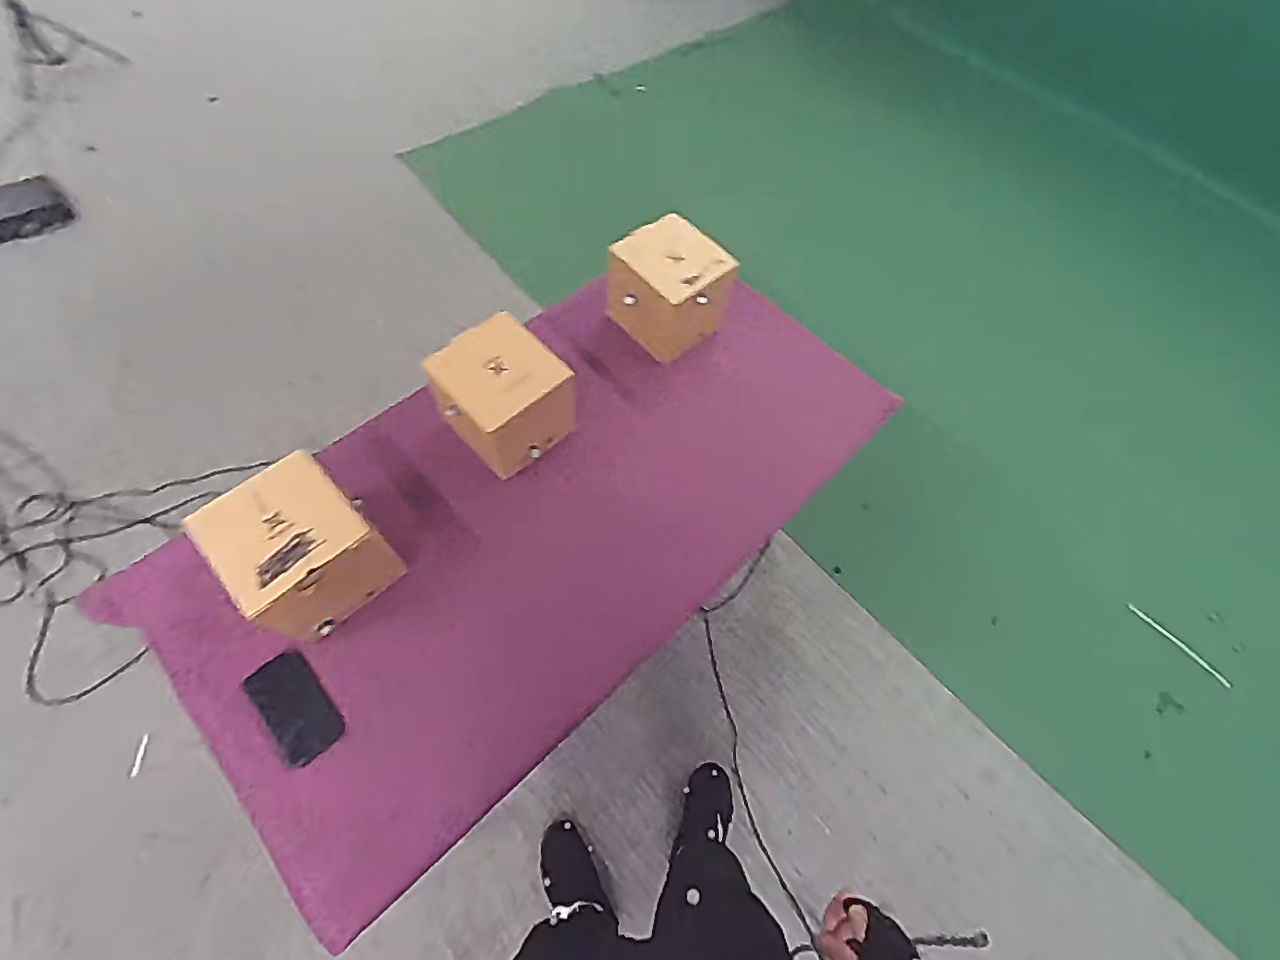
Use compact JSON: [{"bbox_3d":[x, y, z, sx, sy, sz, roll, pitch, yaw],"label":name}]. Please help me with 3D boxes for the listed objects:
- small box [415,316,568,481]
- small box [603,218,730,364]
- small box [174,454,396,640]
[{"bbox_3d":[-0.237,-0.130,0.903,0.168,0.176,0.179,-40,73,-21],"label":"small box"},{"bbox_3d":[0.043,-0.360,1.045,0.168,0.176,0.179,-38,71,-20],"label":"small box"},{"bbox_3d":[-0.479,0.103,0.759,0.168,0.176,0.179,-40,71,-22],"label":"small box"}]
